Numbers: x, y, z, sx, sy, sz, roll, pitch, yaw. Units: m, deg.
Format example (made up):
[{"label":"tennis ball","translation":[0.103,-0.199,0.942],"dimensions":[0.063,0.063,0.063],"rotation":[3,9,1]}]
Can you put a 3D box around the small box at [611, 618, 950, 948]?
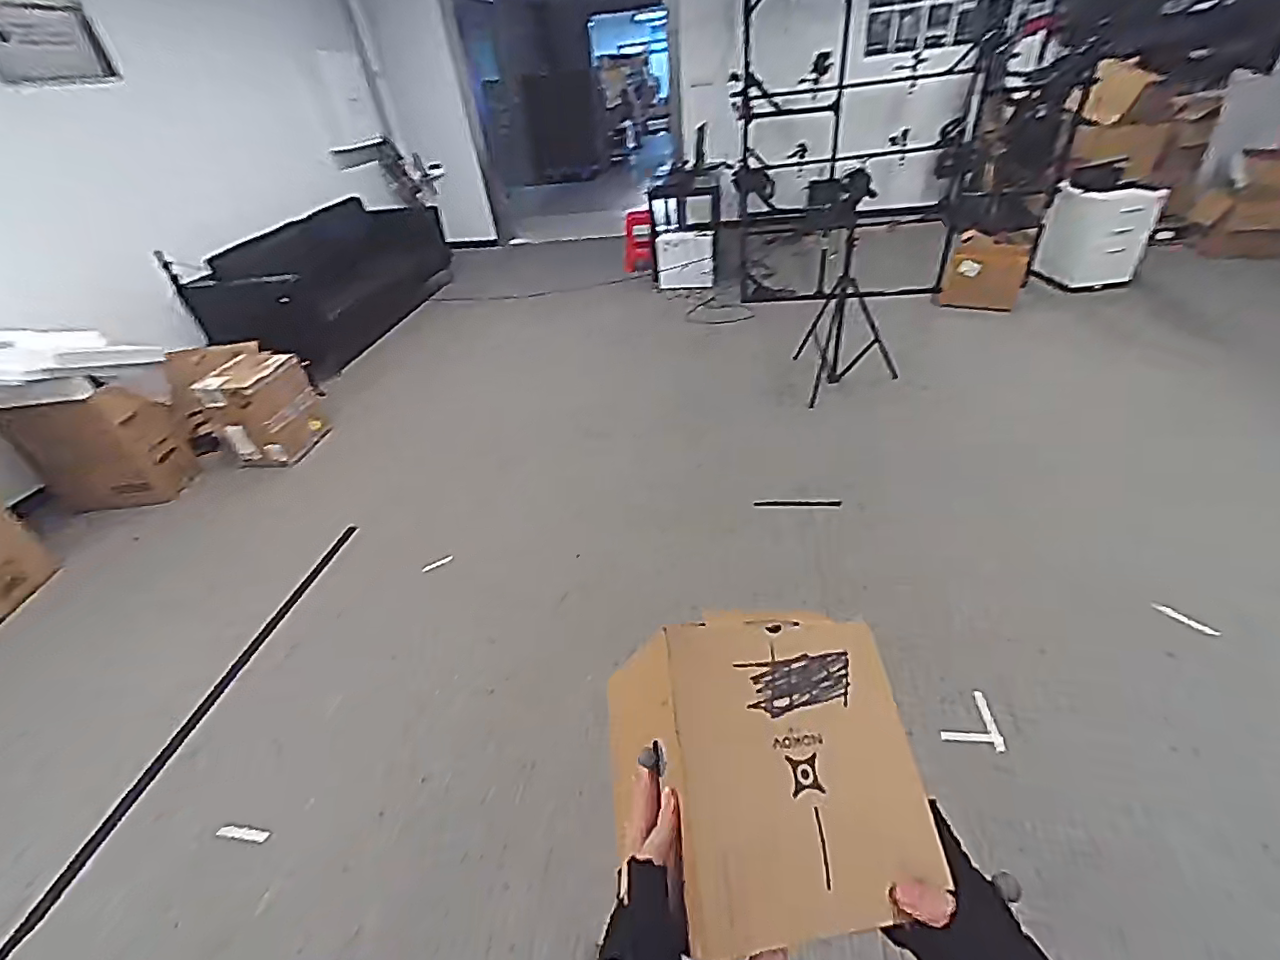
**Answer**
[{"label":"small box","translation":[0.078,0.216,0.408],"dimensions":[0.168,0.176,0.179],"rotation":[3,58,-16]}]
